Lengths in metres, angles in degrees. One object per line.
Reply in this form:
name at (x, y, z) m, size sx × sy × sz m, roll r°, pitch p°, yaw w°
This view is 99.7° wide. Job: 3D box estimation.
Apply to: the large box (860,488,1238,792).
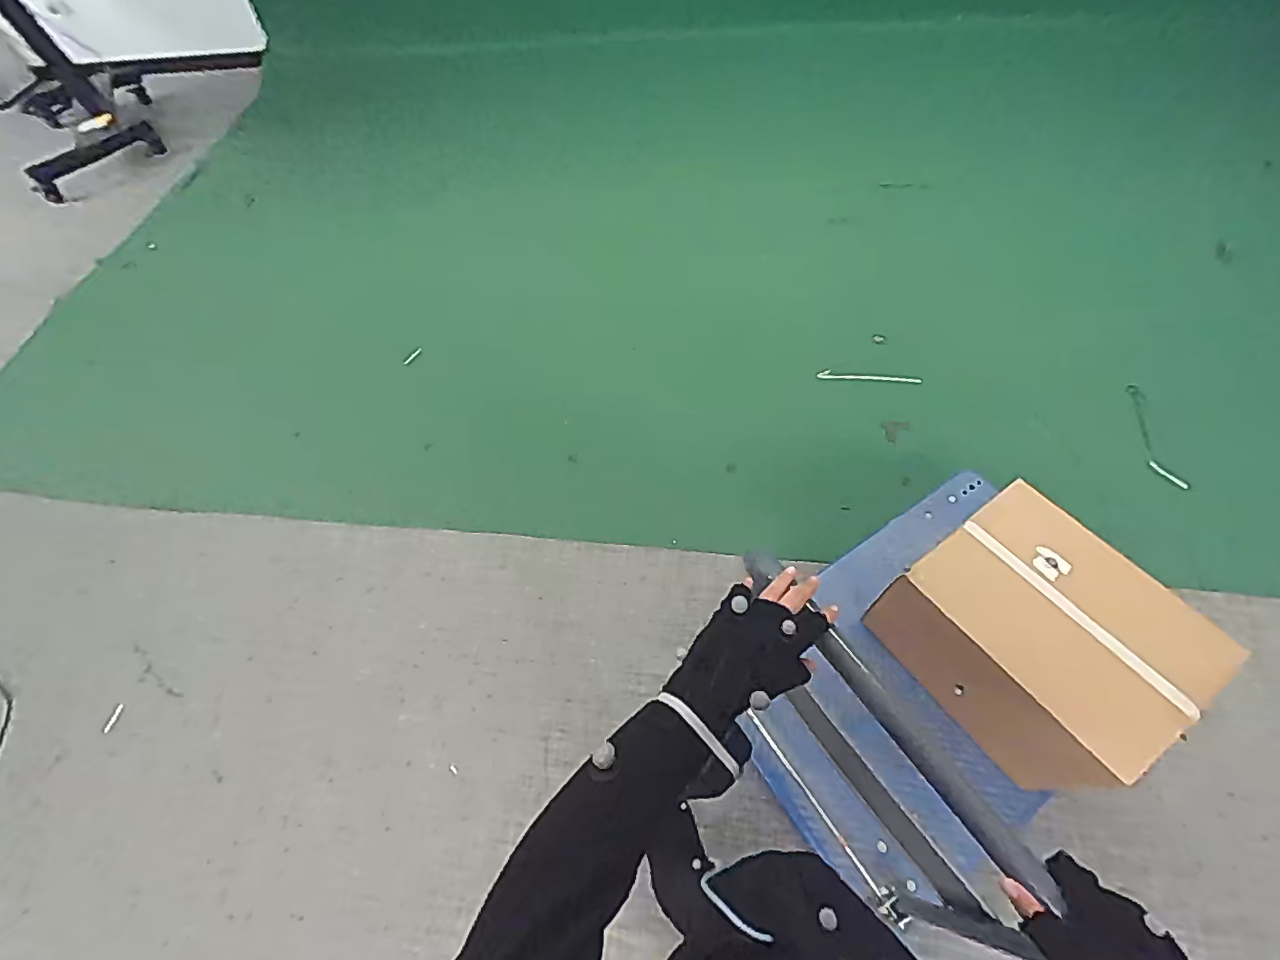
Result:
large box at (0.701, 0.300, 1.014) m, size 0.320 × 0.320 × 0.408 m, roll -33°, pitch 60°, yaw -13°
